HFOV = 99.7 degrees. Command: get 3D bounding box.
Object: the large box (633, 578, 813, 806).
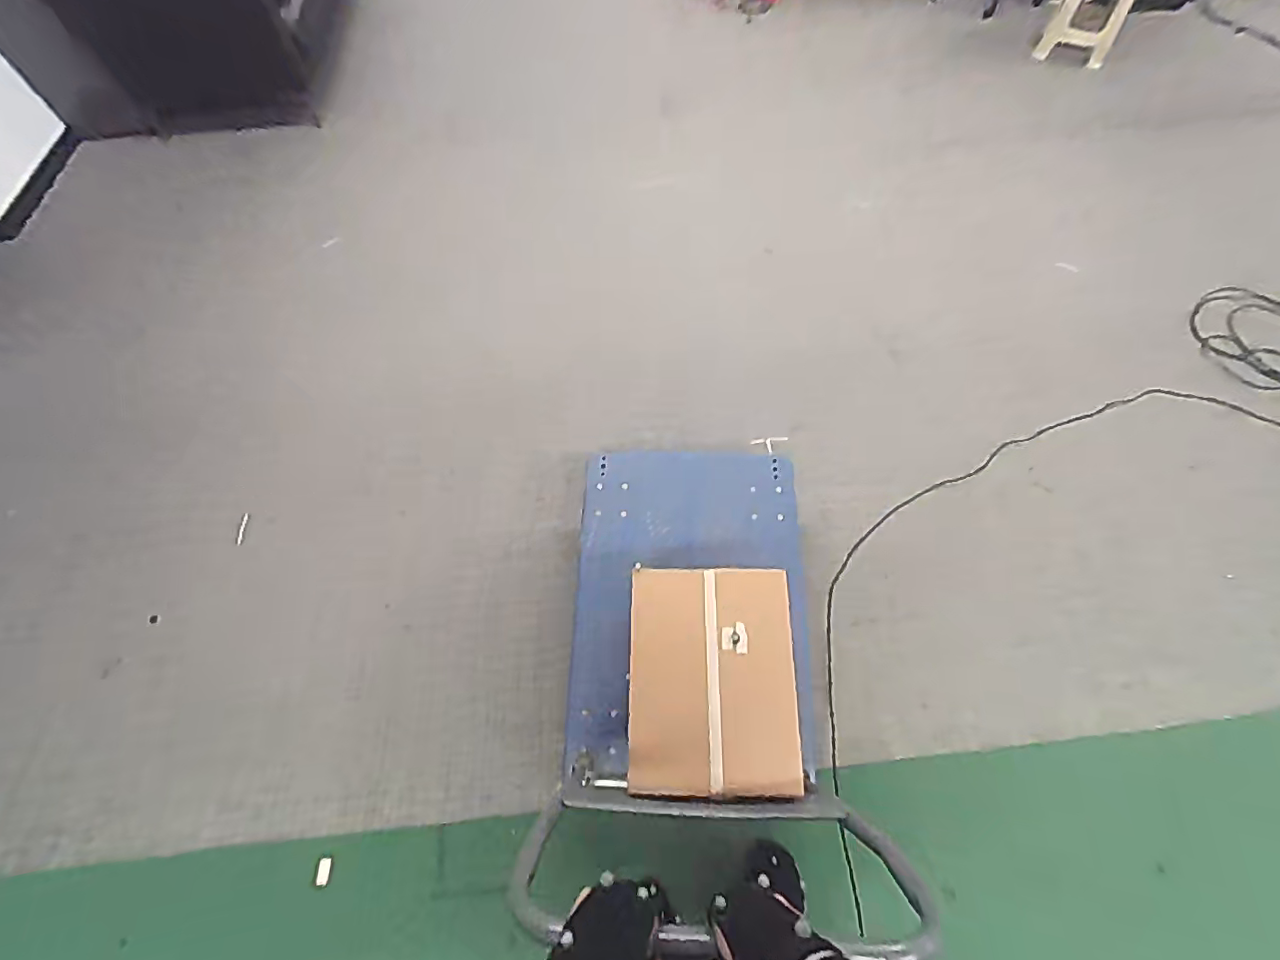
[{"bbox_3d":[0.152,0.442,1.145,0.320,0.320,0.408,0,66,2],"label":"large box"}]
